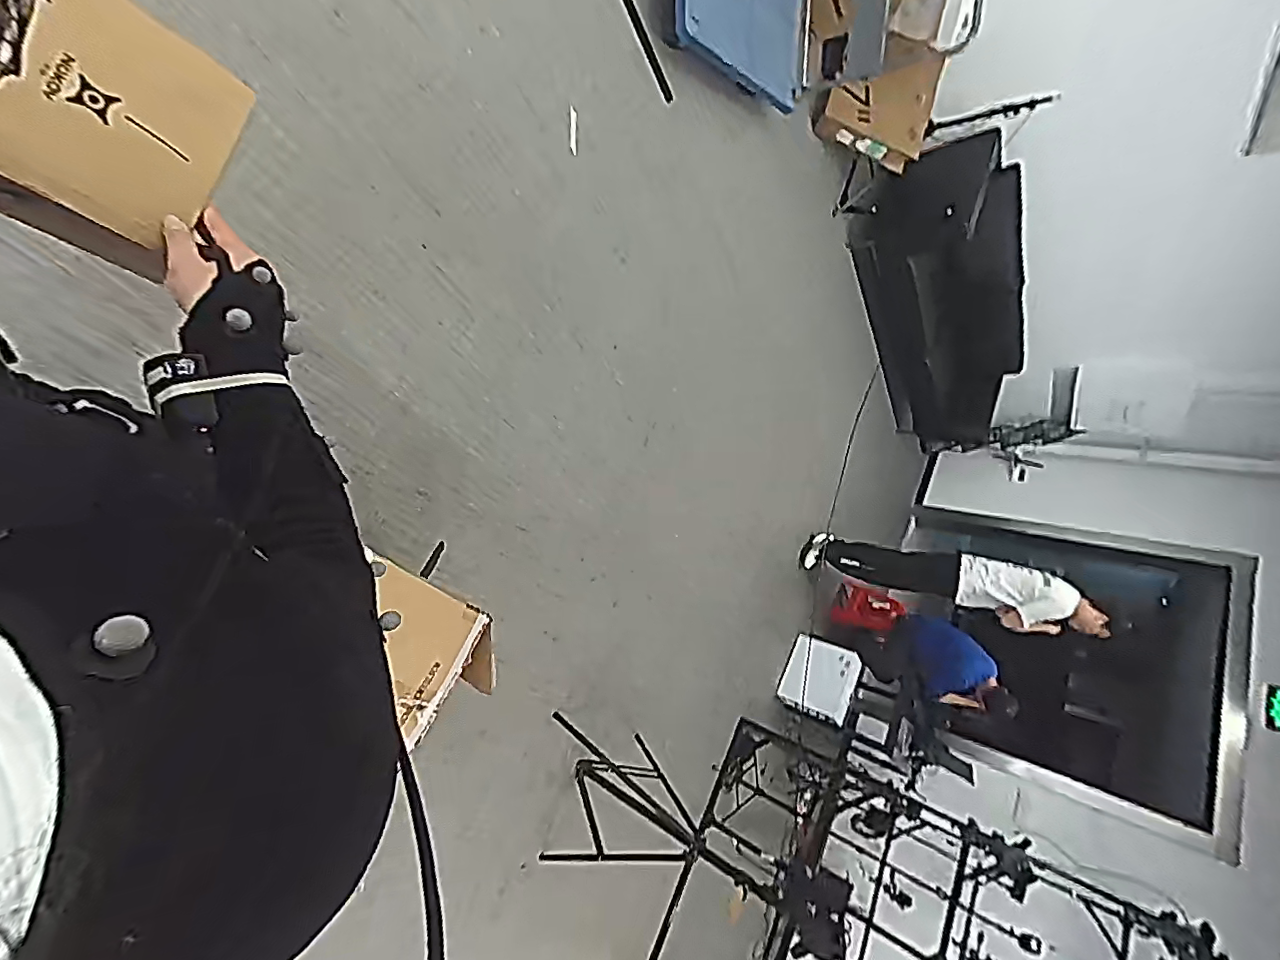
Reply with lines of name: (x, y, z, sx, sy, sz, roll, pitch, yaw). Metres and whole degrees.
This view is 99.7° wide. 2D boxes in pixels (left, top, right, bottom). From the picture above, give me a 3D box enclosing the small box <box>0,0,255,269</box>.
small box: (-0.464, -0.296, 0.444, 0.179, 0.176, 0.168, 26, 79, -45)
